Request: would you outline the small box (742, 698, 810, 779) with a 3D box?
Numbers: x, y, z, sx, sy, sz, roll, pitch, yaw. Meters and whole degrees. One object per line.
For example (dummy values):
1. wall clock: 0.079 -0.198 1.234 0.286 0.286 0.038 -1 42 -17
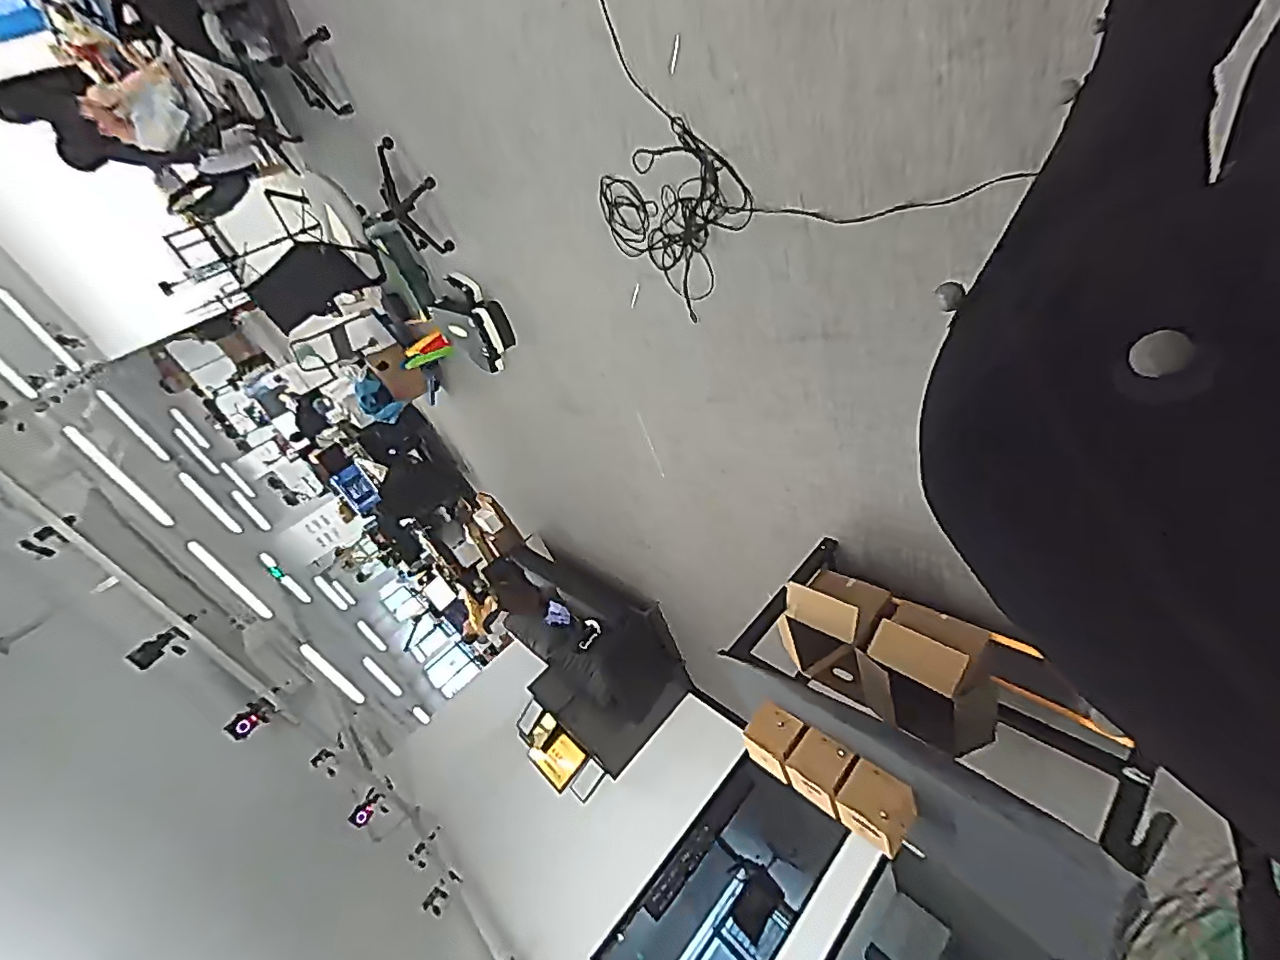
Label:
1. small box: 0.507 0.948 1.993 0.168 0.176 0.179 19 141 46
